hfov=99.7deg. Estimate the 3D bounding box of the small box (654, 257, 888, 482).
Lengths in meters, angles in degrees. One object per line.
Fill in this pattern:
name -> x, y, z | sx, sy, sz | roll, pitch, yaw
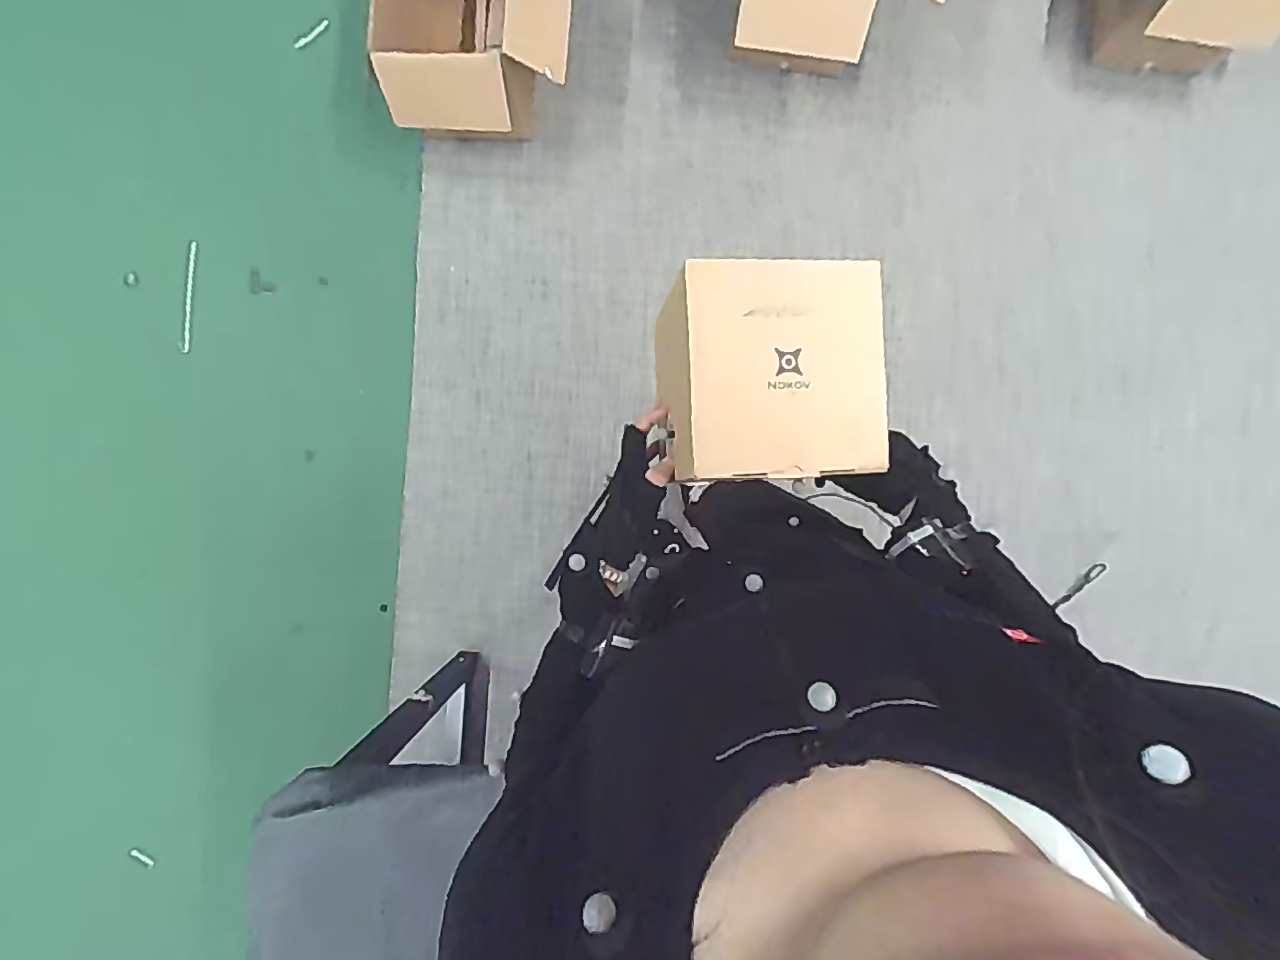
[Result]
small box -> 0.108, -0.089, 0.508 | 0.168, 0.176, 0.179 | -3, 89, -7
